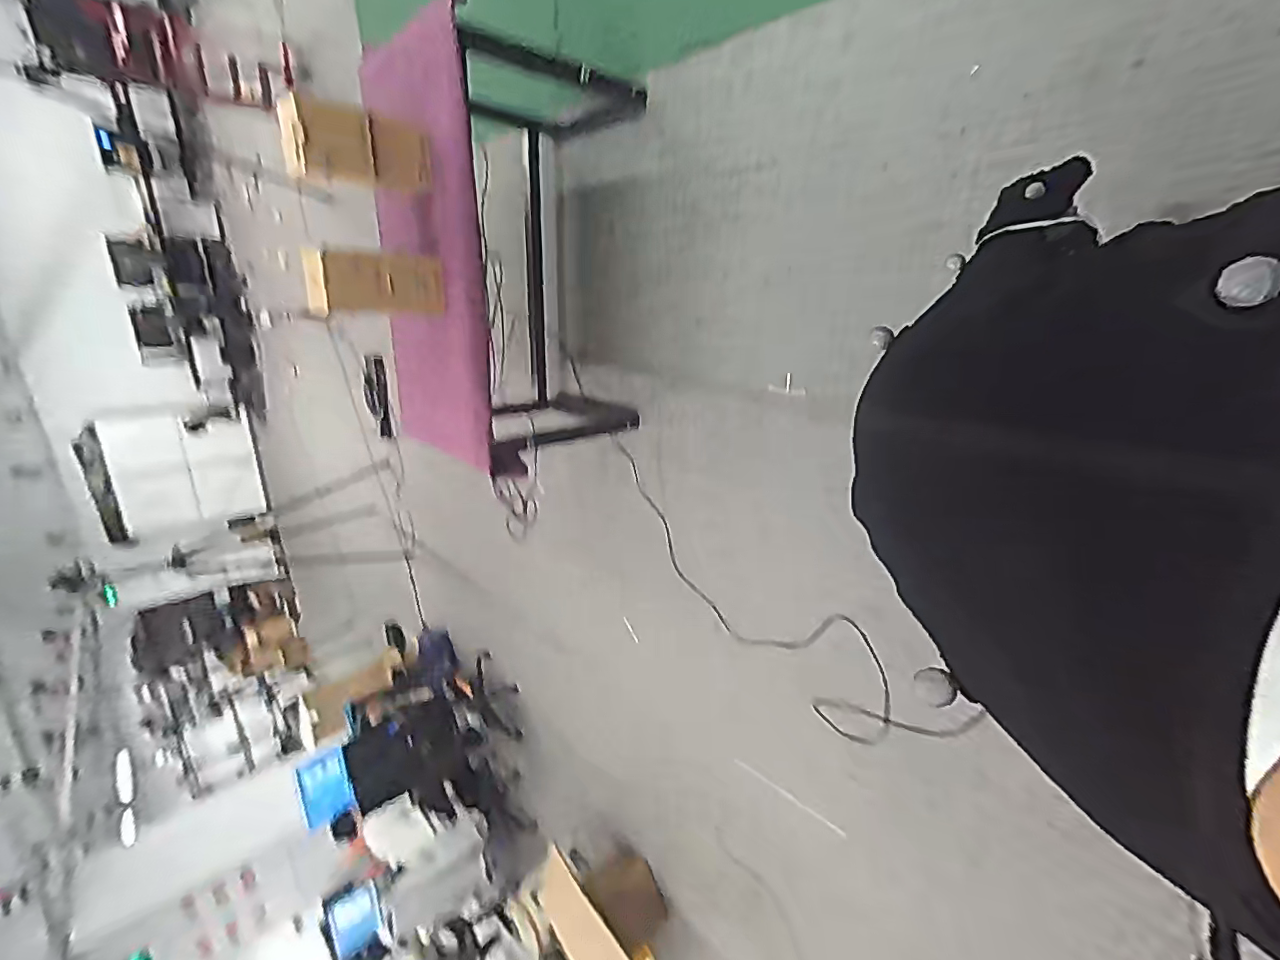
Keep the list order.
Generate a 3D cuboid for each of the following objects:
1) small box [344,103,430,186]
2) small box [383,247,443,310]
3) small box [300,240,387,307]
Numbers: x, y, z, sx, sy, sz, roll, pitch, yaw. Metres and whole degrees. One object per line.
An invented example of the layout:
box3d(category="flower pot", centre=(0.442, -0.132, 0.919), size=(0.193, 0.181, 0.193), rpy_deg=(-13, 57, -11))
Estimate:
box3d(category="small box", centre=(-0.703, -0.932, 1.517), size=(0.179, 0.176, 0.168), rpy_deg=(25, 118, 40))
box3d(category="small box", centre=(-0.704, -0.608, 1.626), size=(0.179, 0.176, 0.168), rpy_deg=(23, 118, 40))
box3d(category="small box", centre=(-0.822, -0.580, 1.517), size=(0.179, 0.176, 0.168), rpy_deg=(23, 118, 41))
